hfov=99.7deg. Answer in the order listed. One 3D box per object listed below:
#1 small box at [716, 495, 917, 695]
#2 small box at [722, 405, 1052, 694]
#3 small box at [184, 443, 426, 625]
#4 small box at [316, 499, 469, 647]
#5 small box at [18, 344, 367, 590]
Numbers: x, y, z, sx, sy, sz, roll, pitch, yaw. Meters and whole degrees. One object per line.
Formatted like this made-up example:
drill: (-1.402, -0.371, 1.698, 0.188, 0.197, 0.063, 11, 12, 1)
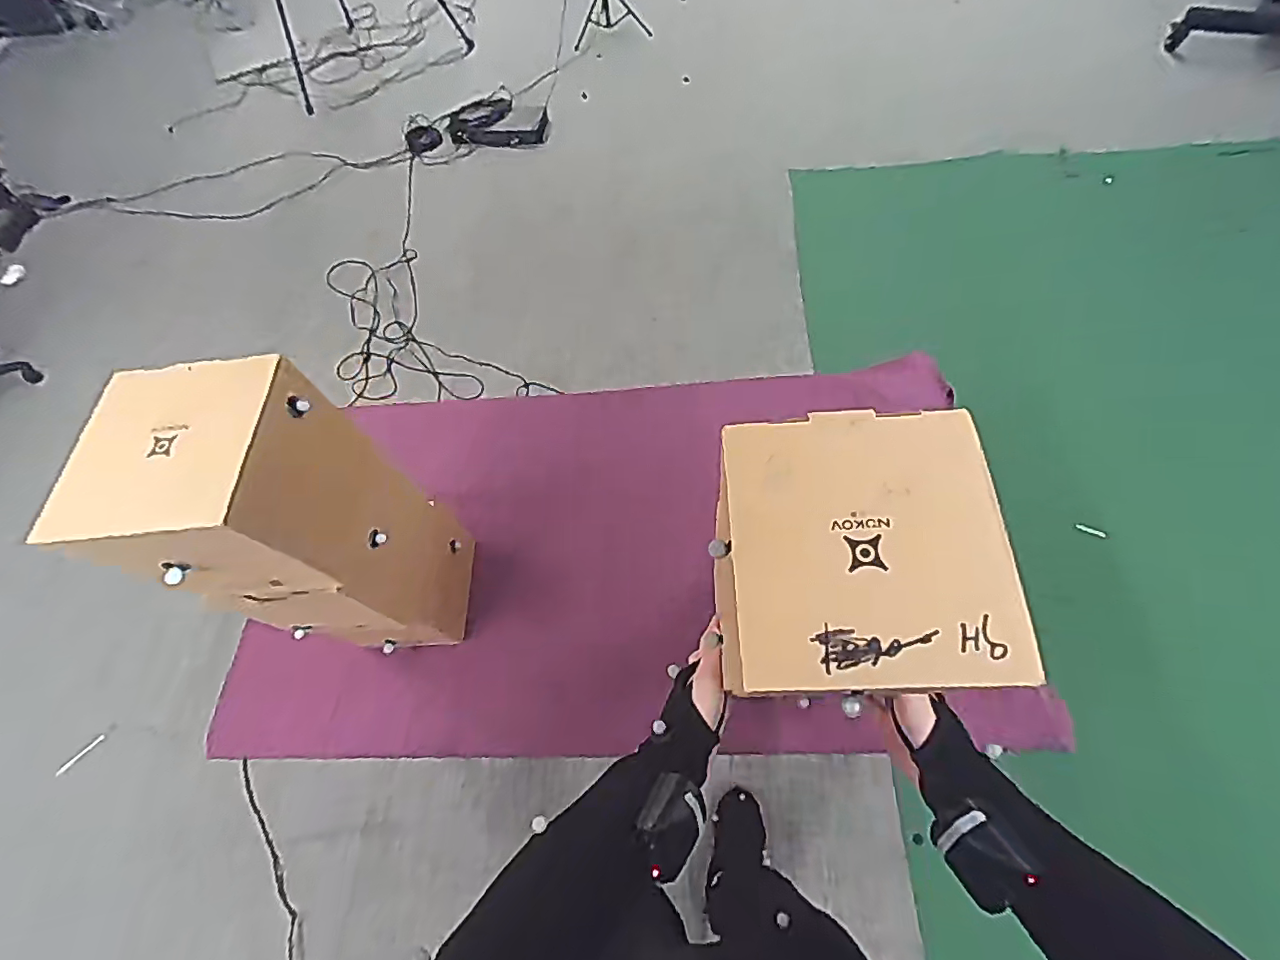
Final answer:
small box: (0.164, 0.124, 0.554, 0.168, 0.176, 0.179, -1, 67, 6)
small box: (0.150, 0.063, 0.403, 0.168, 0.176, 0.179, -3, 68, 6)
small box: (-0.384, 0.075, 0.660, 0.168, 0.176, 0.179, -3, 61, 4)
small box: (-0.369, 0.143, 0.808, 0.168, 0.176, 0.179, -3, 62, 4)
small box: (-0.392, 0.000, 0.517, 0.168, 0.176, 0.179, -5, 61, 3)
